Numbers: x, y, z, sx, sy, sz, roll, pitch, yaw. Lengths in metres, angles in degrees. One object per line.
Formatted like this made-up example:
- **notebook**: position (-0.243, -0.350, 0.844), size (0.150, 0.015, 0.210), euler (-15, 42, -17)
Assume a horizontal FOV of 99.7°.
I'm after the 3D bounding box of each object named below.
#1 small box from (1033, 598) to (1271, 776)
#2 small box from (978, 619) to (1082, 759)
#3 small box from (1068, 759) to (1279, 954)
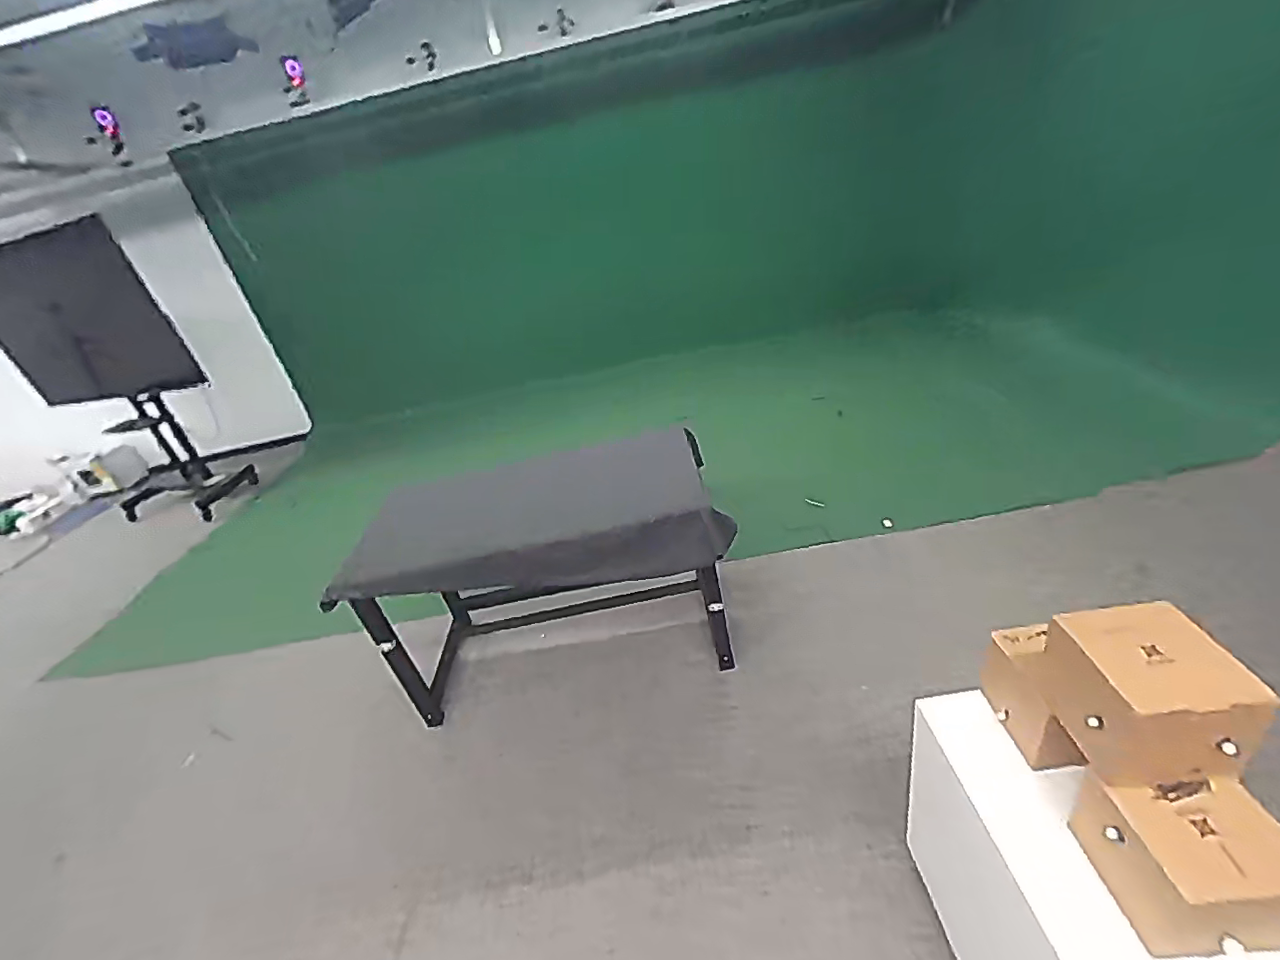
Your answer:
- **small box**: position (0.710, 0.301, 0.779), size (0.168, 0.176, 0.179), euler (-9, 29, 6)
- **small box**: position (0.740, 0.374, 0.968), size (0.168, 0.176, 0.179), euler (-11, 32, 5)
- **small box**: position (0.737, 0.506, 0.744), size (0.168, 0.176, 0.179), euler (-10, 30, 7)
